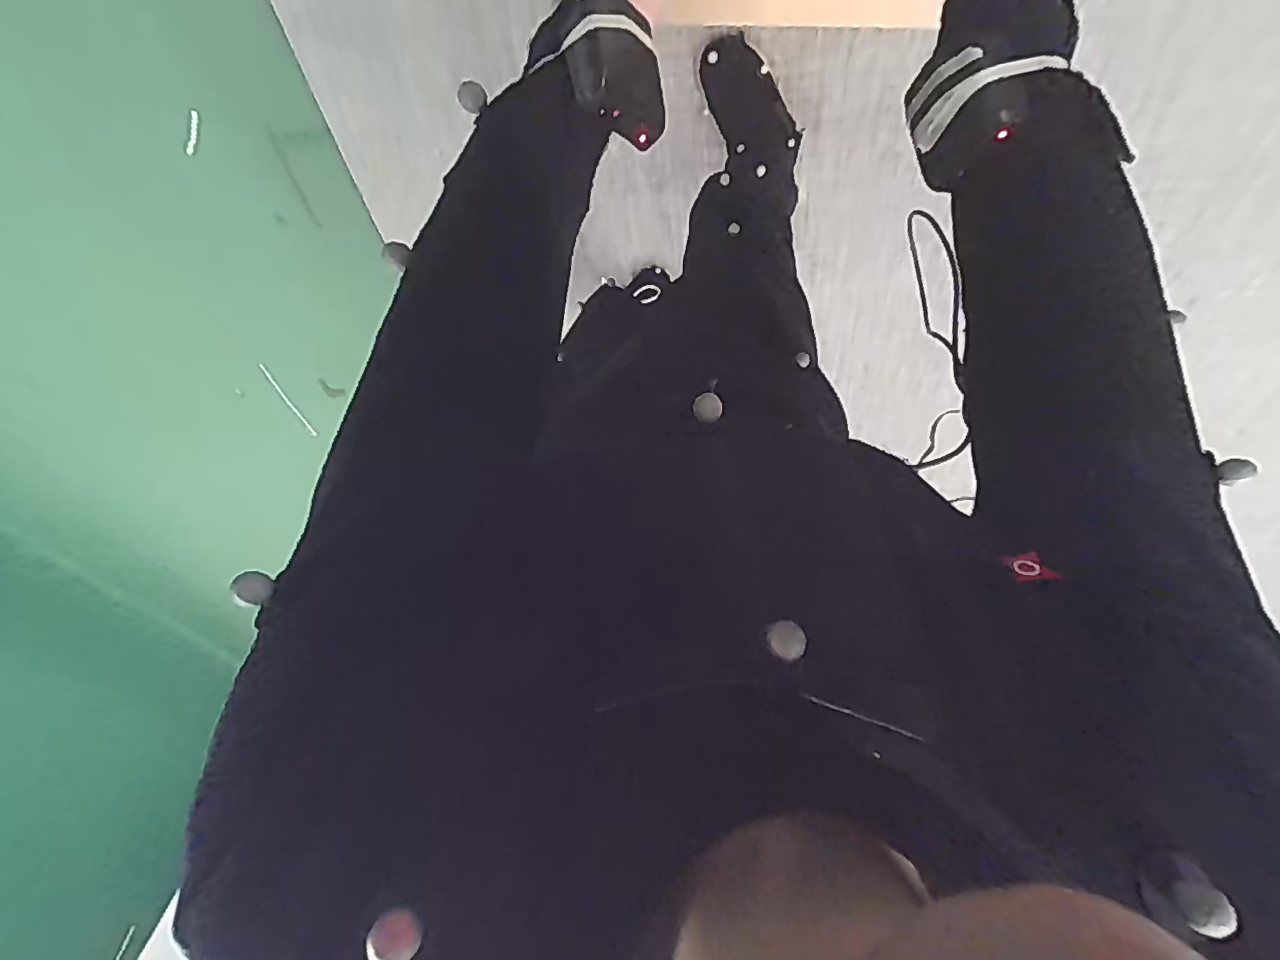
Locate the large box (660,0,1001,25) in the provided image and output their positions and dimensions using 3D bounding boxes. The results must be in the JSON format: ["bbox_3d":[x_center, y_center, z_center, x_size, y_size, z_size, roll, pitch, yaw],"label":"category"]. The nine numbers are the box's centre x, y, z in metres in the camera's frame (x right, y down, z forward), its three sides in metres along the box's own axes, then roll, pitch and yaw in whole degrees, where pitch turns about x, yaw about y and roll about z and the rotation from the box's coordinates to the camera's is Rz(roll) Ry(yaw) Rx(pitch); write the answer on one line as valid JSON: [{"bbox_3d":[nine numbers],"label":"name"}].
[{"bbox_3d":[0.234,-0.768,0.634,0.408,0.320,0.320,6,140,7],"label":"large box"}]
